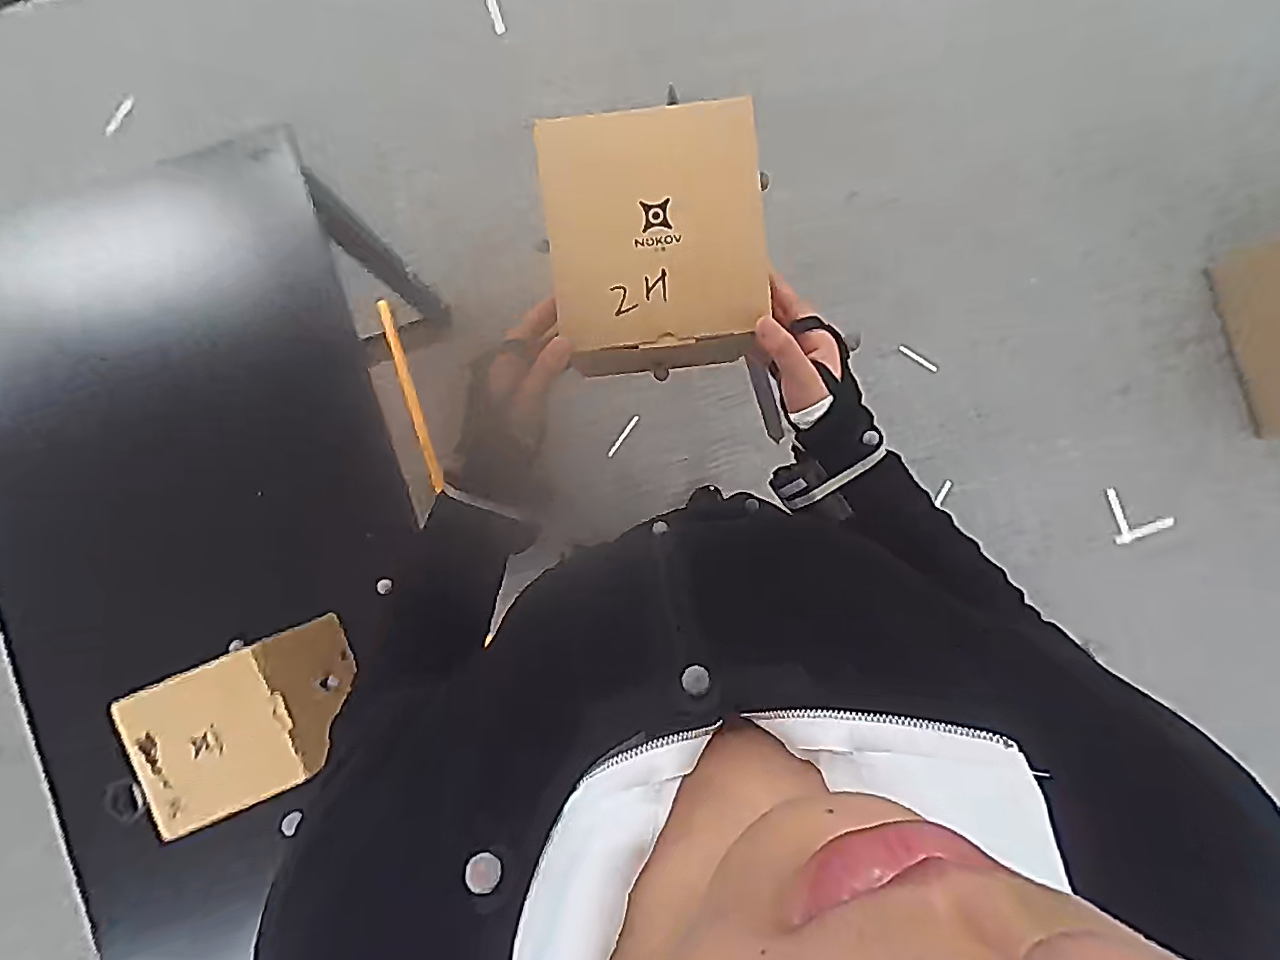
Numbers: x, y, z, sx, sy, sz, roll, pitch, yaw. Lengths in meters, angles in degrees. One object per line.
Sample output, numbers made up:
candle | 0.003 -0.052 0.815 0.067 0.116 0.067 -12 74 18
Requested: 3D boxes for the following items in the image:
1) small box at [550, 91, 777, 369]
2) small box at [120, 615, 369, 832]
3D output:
small box | 0.018 -0.206 0.491 0.168 0.176 0.179 -5 94 1
small box | -0.479 0.292 0.692 0.179 0.176 0.168 -23 89 -1
